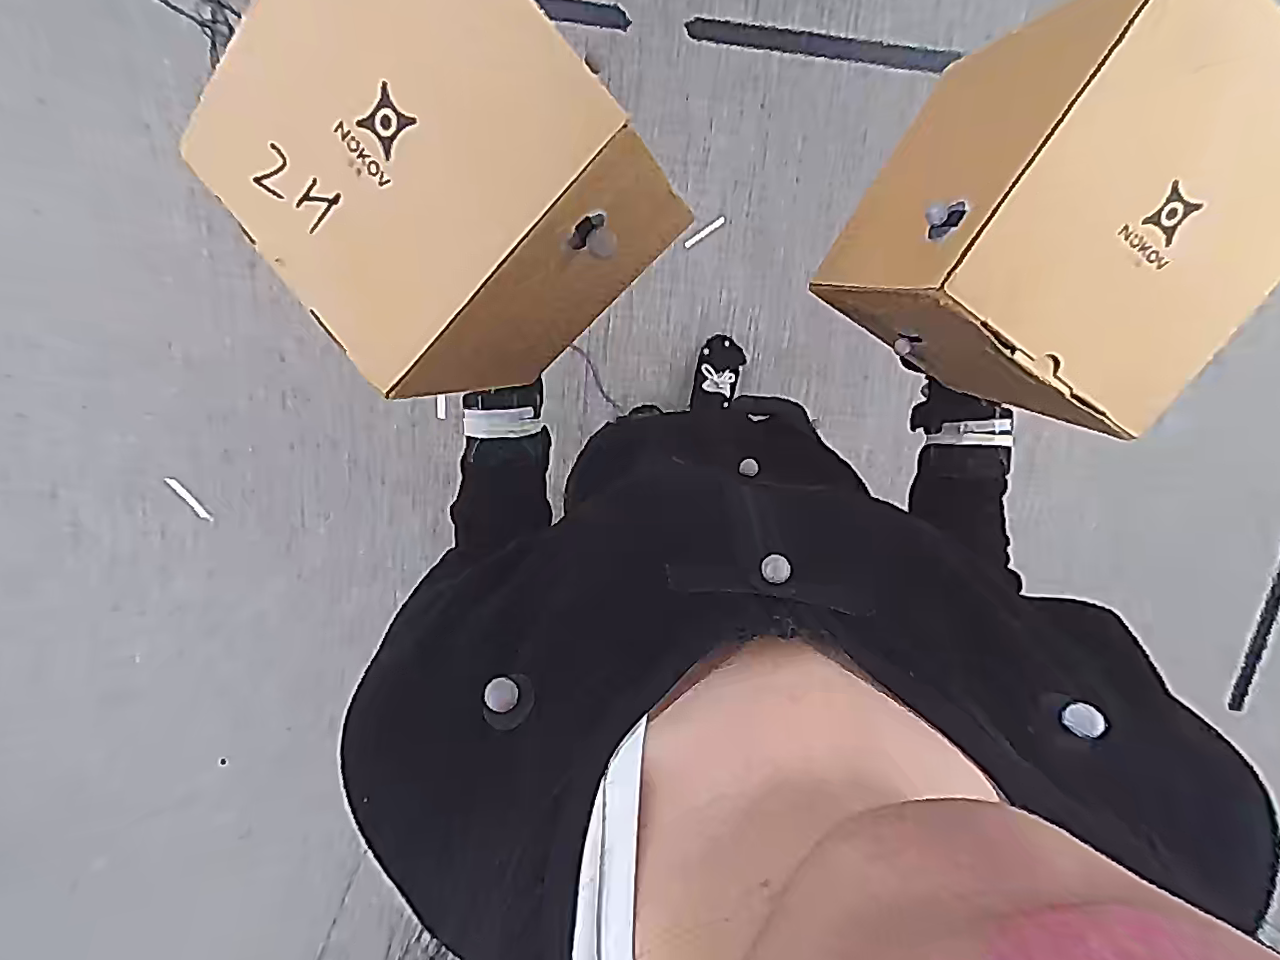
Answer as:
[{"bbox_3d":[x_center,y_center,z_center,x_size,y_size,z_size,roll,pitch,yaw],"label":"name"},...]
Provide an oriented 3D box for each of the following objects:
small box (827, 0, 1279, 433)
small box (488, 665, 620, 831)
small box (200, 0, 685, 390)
[{"bbox_3d":[0.256,-0.162,0.348,0.168,0.176,0.179,27,106,-16],"label":"small box"},{"bbox_3d":[-0.129,0.415,0.862,0.179,0.176,0.168,5,101,0],"label":"small box"},{"bbox_3d":[-0.089,-0.175,0.320,0.179,0.176,0.168,-40,89,20],"label":"small box"}]
